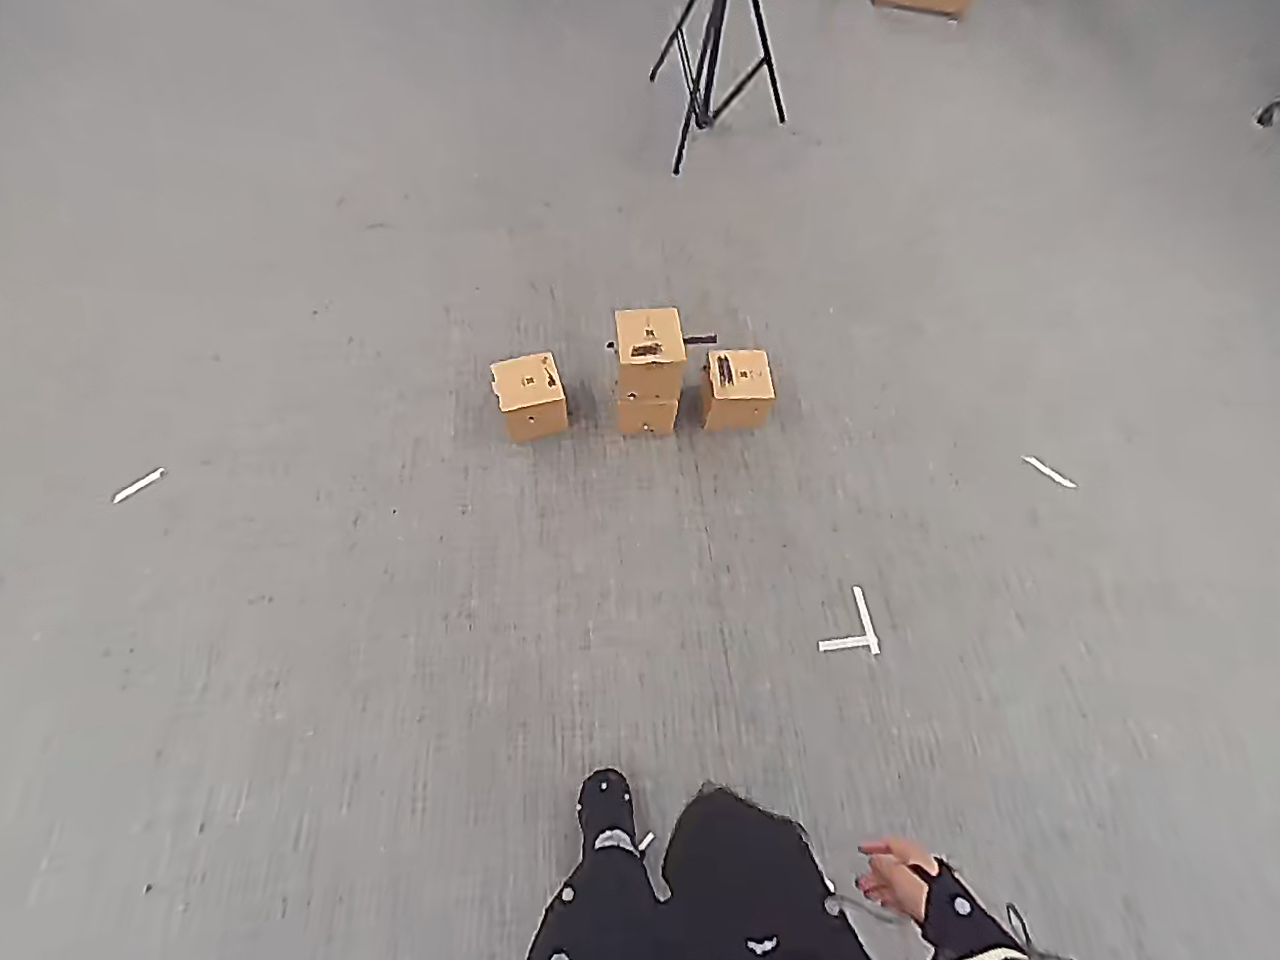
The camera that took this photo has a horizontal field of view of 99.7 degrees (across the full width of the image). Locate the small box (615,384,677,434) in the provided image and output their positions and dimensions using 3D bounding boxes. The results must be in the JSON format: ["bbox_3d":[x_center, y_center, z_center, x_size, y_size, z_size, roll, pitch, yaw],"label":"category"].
[{"bbox_3d":[0.013,-0.250,1.578,0.168,0.176,0.179,-1,66,-4],"label":"small box"}]

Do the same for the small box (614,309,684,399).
[{"bbox_3d":[0.018,-0.327,1.433,0.168,0.176,0.179,-4,65,-6],"label":"small box"}]

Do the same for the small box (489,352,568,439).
[{"bbox_3d":[-0.316,-0.237,1.553,0.179,0.176,0.168,-15,68,-9],"label":"small box"}]
